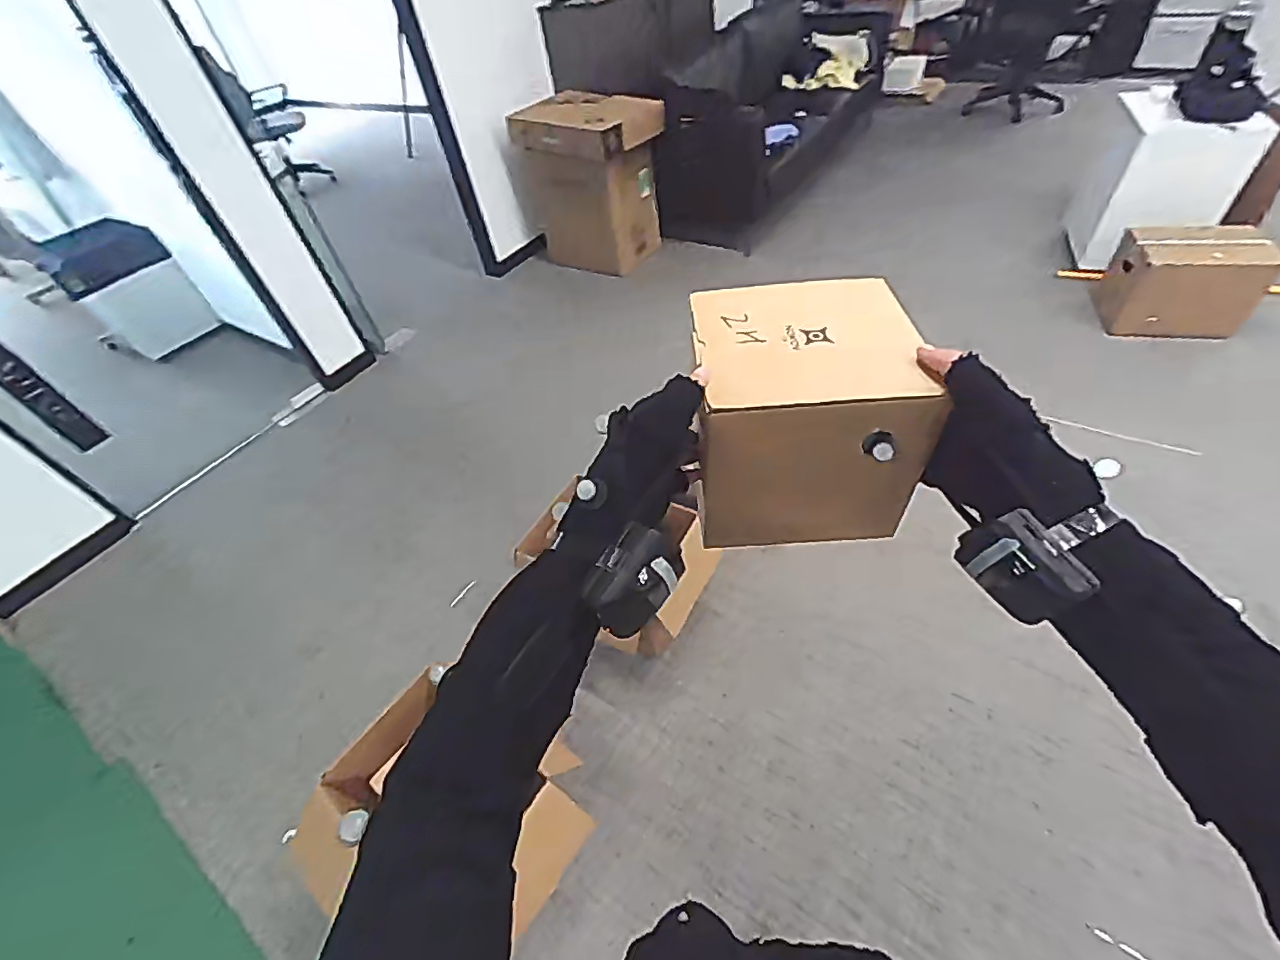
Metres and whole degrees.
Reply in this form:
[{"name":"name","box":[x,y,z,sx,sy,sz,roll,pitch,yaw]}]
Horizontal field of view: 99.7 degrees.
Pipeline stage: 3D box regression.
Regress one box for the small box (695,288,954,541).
[{"name":"small box","box":[0.145,-0.057,0.502,0.179,0.176,0.168,-3,46,3]}]
